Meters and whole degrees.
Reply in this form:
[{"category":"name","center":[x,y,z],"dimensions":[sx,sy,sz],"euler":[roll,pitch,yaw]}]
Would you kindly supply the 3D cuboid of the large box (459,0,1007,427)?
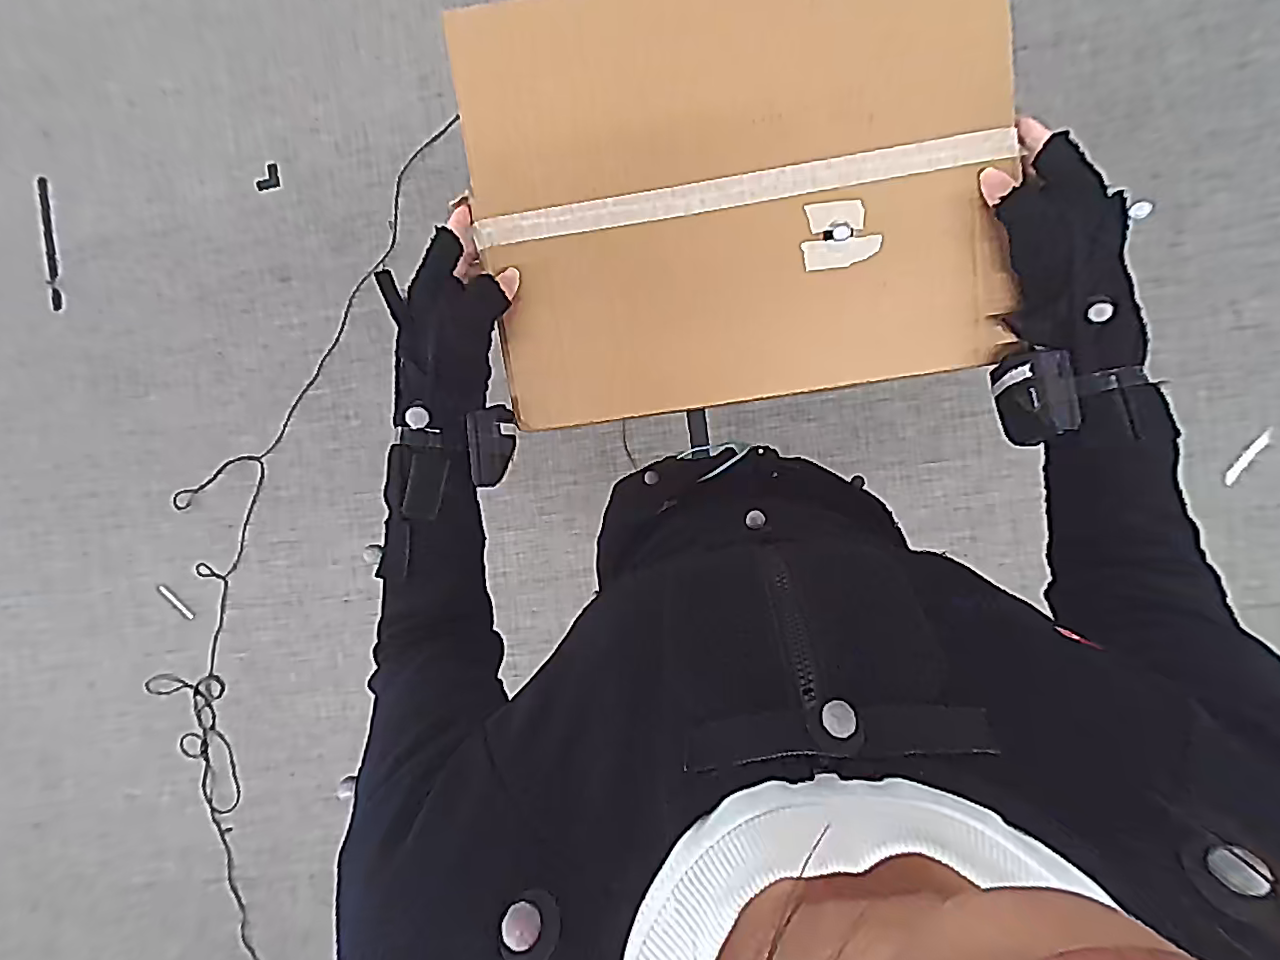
[{"category":"large box","center":[0.080,-0.243,0.573],"dimensions":[0.408,0.320,0.320],"euler":[-8,98,3]}]
